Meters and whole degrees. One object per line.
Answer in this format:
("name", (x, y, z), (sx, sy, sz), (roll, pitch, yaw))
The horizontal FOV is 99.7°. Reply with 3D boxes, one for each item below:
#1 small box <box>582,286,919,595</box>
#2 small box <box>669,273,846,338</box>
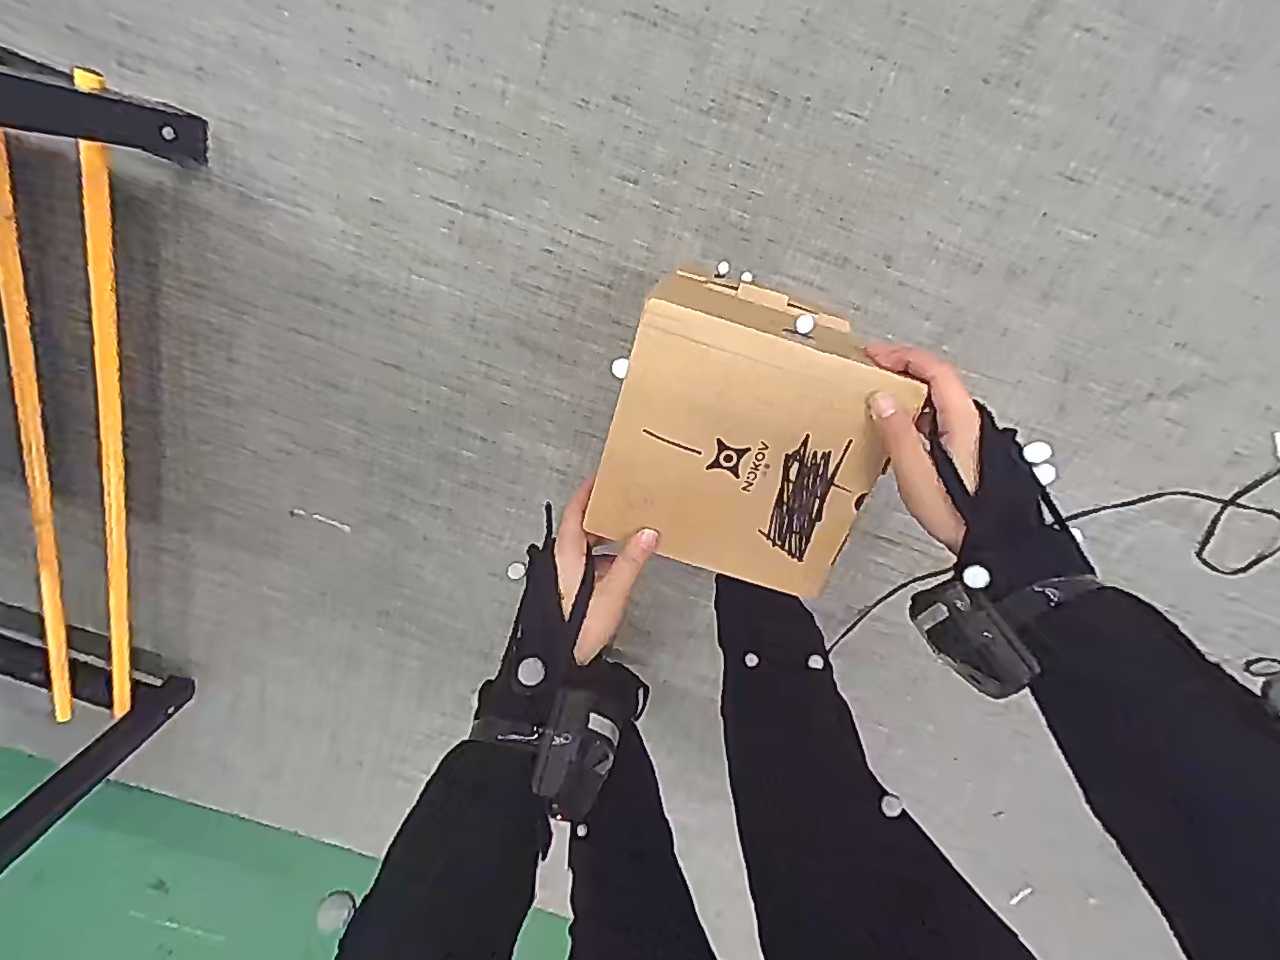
("small box", (0.071, -0.043, 0.425), (0.179, 0.176, 0.168), (17, 115, -1))
("small box", (0.091, -0.114, 0.583), (0.168, 0.176, 0.179), (16, 114, 0))
